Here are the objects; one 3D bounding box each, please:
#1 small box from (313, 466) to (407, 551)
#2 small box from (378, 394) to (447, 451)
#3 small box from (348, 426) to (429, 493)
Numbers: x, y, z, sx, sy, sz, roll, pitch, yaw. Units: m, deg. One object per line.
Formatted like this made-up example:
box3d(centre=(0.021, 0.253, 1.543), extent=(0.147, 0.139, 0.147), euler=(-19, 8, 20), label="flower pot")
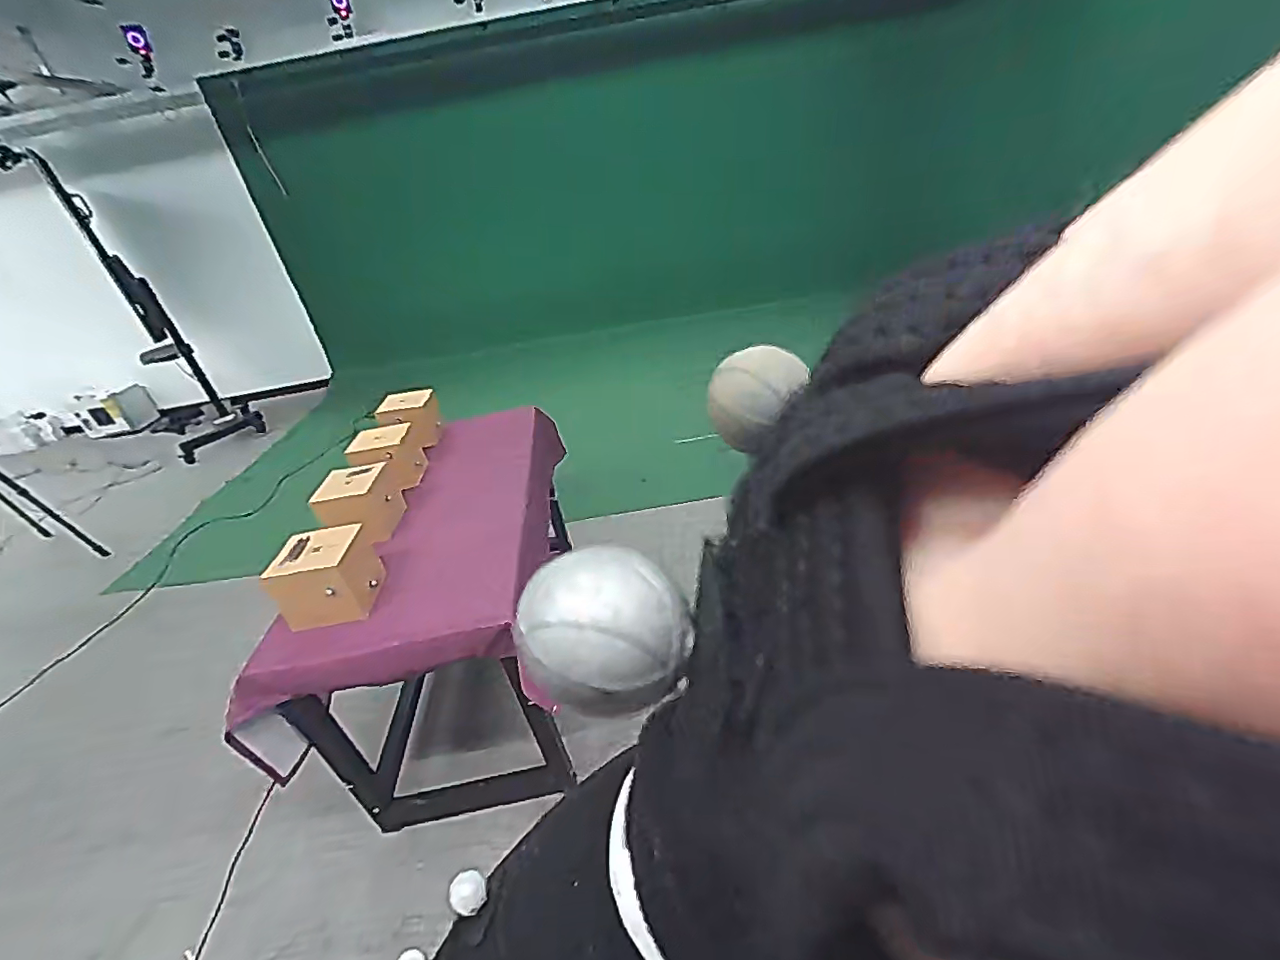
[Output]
box3d(centre=(-0.805, 0.082, 1.577), extent=(0.168, 0.176, 0.179), euler=(-10, 32, 1), label="small box")
box3d(centre=(-0.862, -0.212, 2.063), extent=(0.179, 0.176, 0.168), euler=(-8, 32, 0), label="small box")
box3d(centre=(-0.839, -0.059, 1.820), extent=(0.179, 0.176, 0.168), euler=(-10, 31, -1), label="small box")
